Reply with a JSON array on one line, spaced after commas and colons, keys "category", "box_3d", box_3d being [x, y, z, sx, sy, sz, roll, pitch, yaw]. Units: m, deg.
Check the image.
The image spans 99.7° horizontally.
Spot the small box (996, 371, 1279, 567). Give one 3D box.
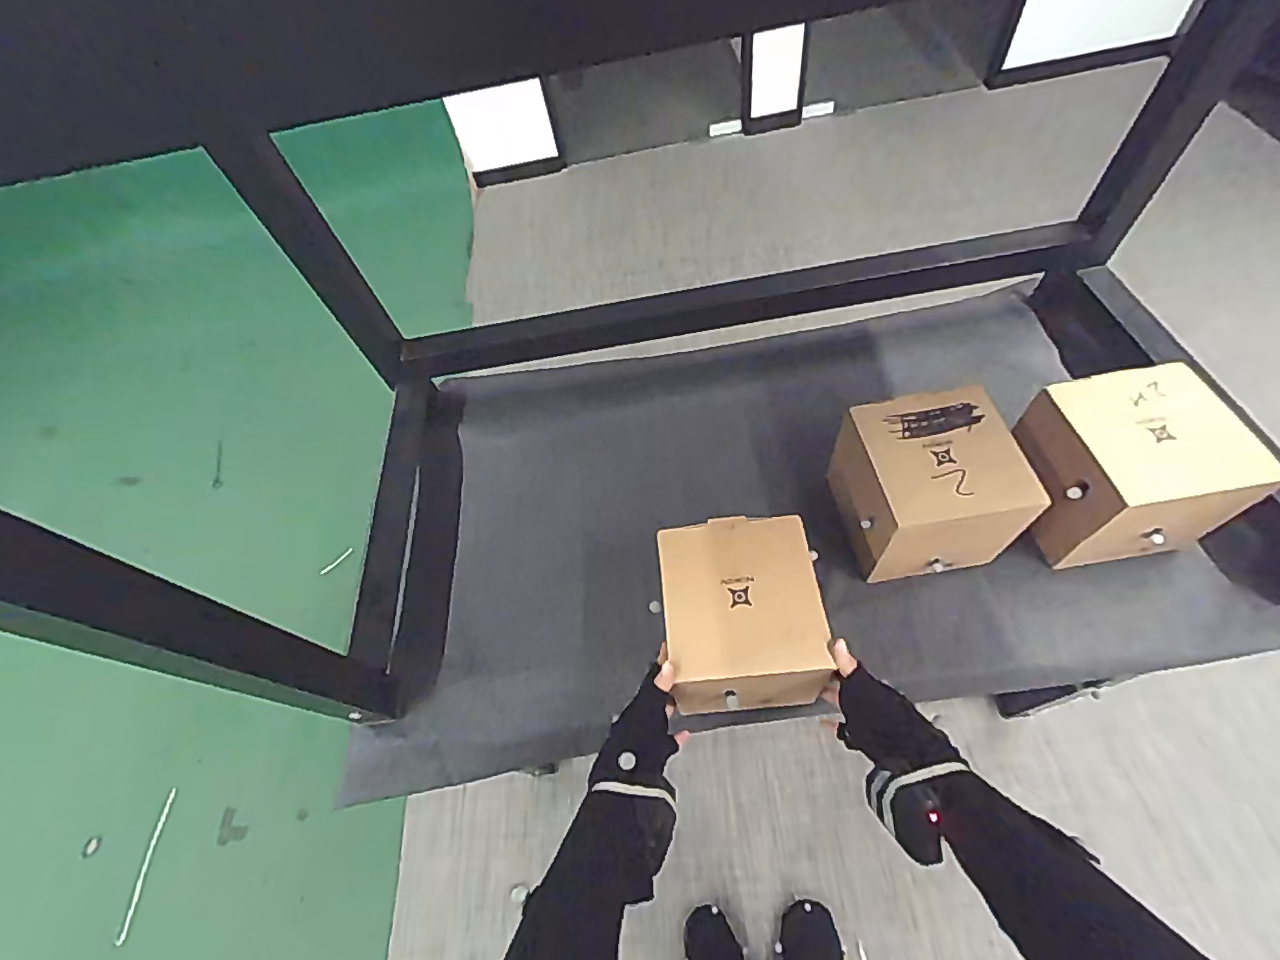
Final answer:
[{"category": "small box", "box_3d": [0.594, -0.004, 0.674, 0.168, 0.176, 0.179, -10, 56, 3]}]
